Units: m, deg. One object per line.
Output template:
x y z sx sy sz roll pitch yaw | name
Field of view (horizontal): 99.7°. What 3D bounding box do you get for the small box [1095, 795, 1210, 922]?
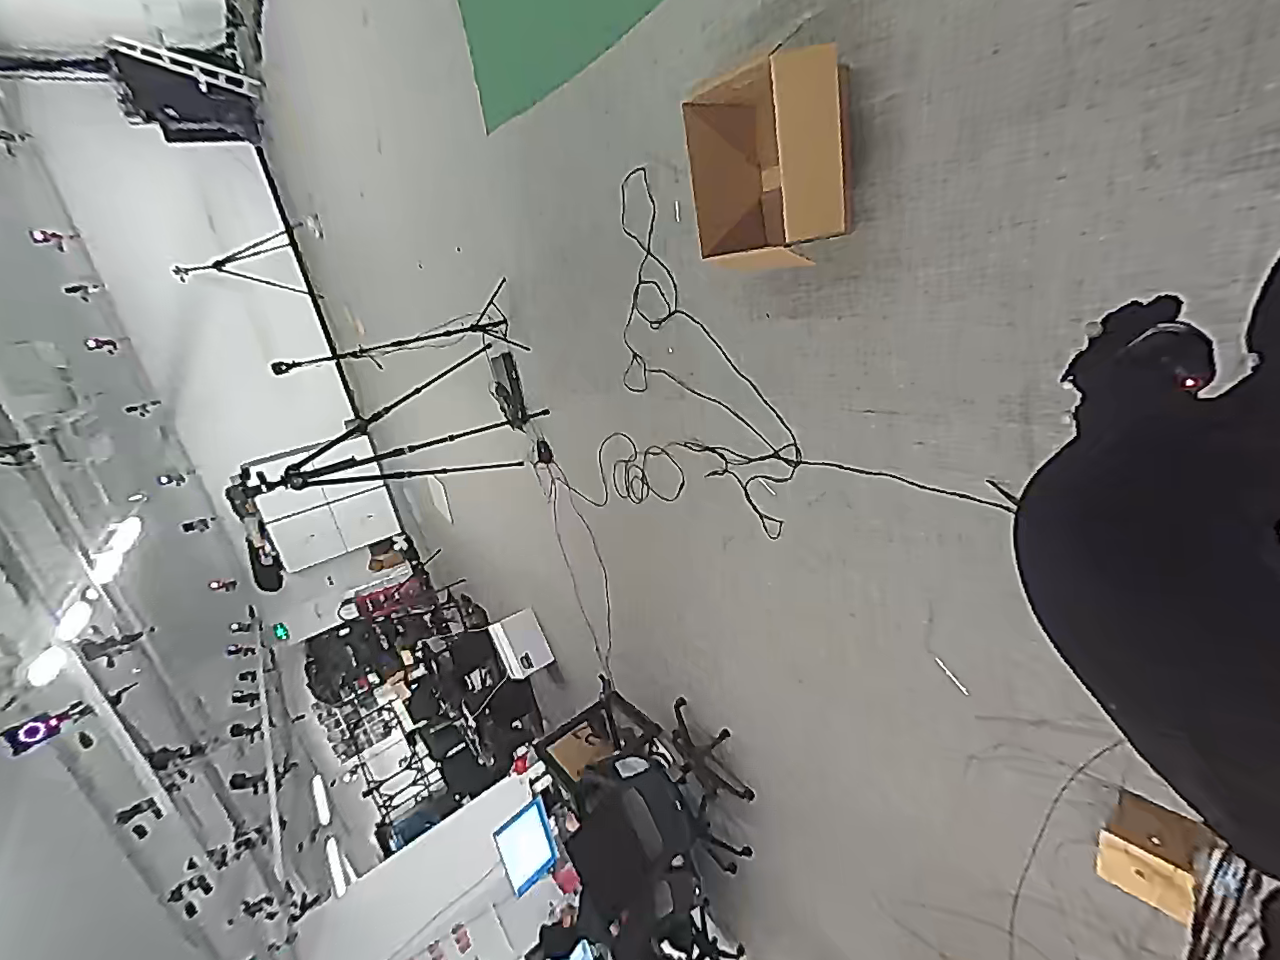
1.304 0.947 1.378 0.179 0.176 0.168 13 119 51 | small box
